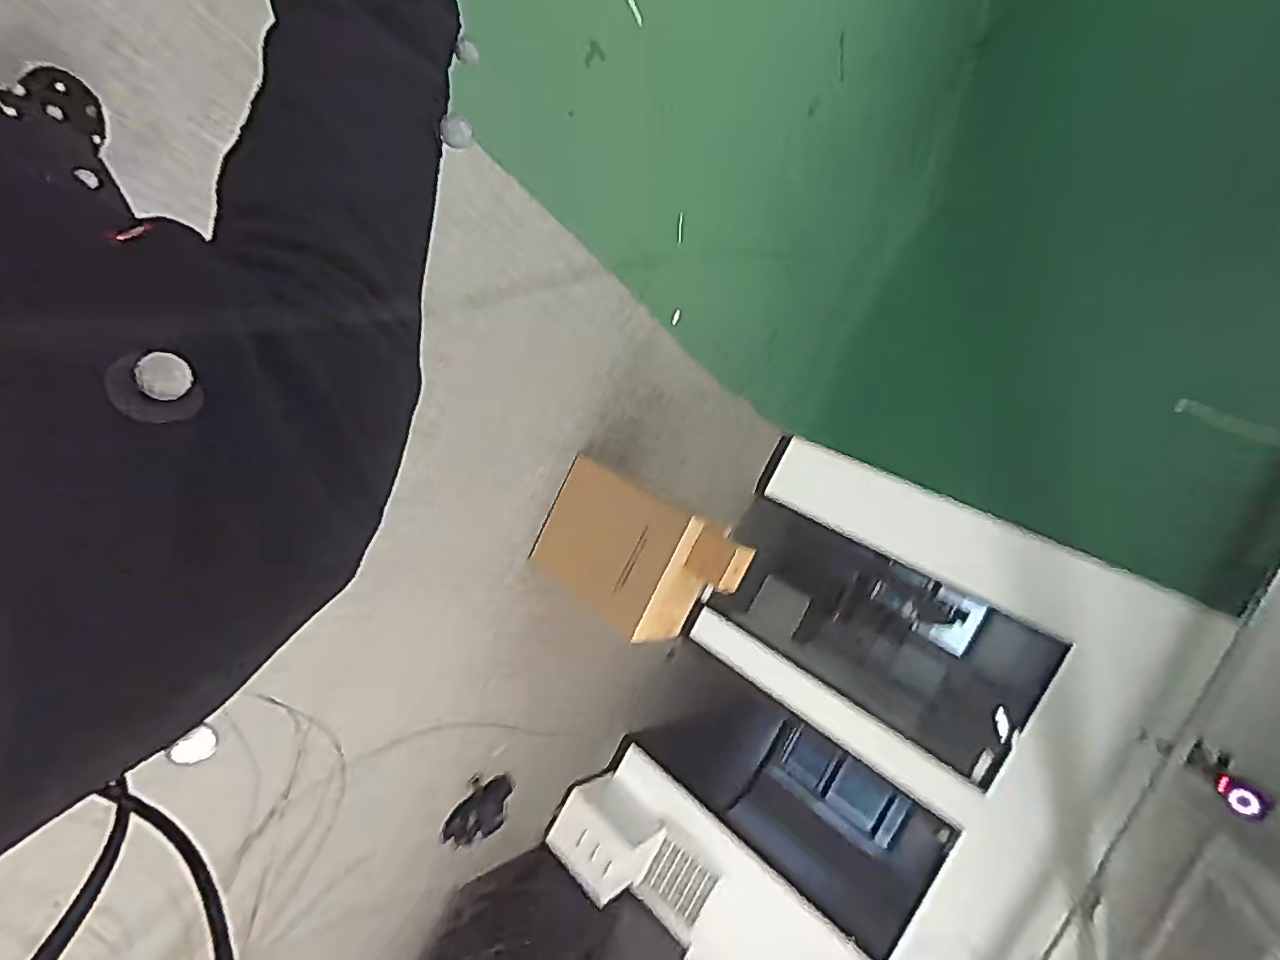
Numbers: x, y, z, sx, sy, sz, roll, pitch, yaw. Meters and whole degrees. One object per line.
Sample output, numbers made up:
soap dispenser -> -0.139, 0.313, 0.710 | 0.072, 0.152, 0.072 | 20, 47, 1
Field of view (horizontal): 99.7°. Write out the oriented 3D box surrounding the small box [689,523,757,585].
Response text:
small box -> 0.314, 0.288, 2.086 | 0.168, 0.176, 0.179 | 18, 98, -53
